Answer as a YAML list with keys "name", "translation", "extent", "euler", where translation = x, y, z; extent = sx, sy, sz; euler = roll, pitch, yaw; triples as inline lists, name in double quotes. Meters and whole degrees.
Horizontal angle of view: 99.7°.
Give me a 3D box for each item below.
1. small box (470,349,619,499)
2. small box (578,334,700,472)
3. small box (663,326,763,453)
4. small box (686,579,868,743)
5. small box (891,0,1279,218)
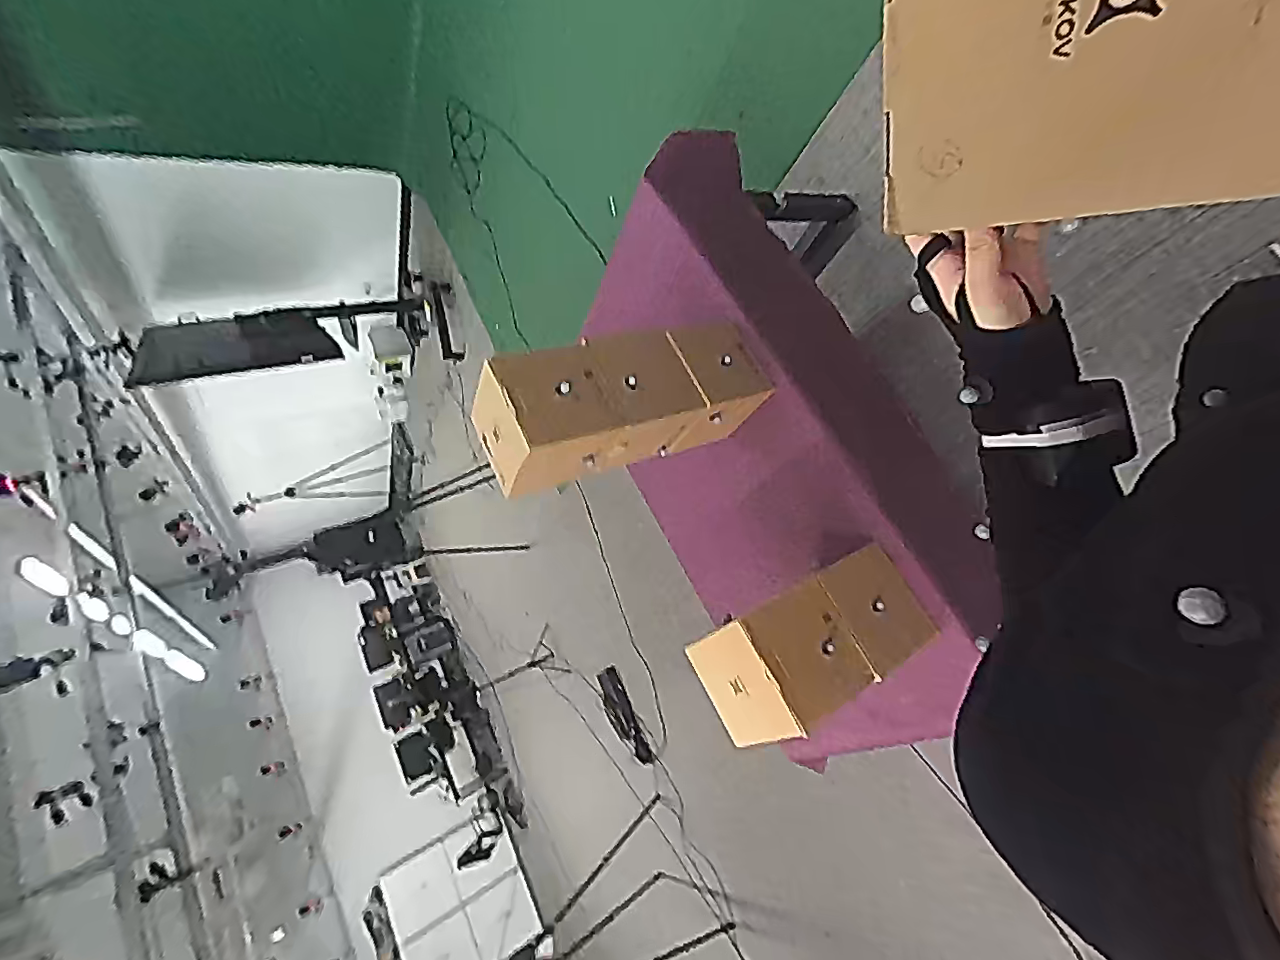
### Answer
- name: "small box"
  translation: [-0.155, -0.095, 0.887]
  extent: [0.168, 0.176, 0.179]
  euler: [63, 145, 15]
- name: "small box"
  translation: [-0.022, -0.143, 0.970]
  extent: [0.179, 0.176, 0.168]
  euler: [63, 146, 15]
- name: "small box"
  translation: [0.115, -0.180, 1.055]
  extent: [0.168, 0.176, 0.179]
  euler: [63, 146, 15]
- name: "small box"
  translation: [0.208, 0.277, 0.834]
  extent: [0.168, 0.176, 0.179]
  euler: [60, 145, 17]
- name: "small box"
  translation: [0.245, -0.237, 0.264]
  extent: [0.179, 0.176, 0.168]
  euler: [14, 129, 37]
